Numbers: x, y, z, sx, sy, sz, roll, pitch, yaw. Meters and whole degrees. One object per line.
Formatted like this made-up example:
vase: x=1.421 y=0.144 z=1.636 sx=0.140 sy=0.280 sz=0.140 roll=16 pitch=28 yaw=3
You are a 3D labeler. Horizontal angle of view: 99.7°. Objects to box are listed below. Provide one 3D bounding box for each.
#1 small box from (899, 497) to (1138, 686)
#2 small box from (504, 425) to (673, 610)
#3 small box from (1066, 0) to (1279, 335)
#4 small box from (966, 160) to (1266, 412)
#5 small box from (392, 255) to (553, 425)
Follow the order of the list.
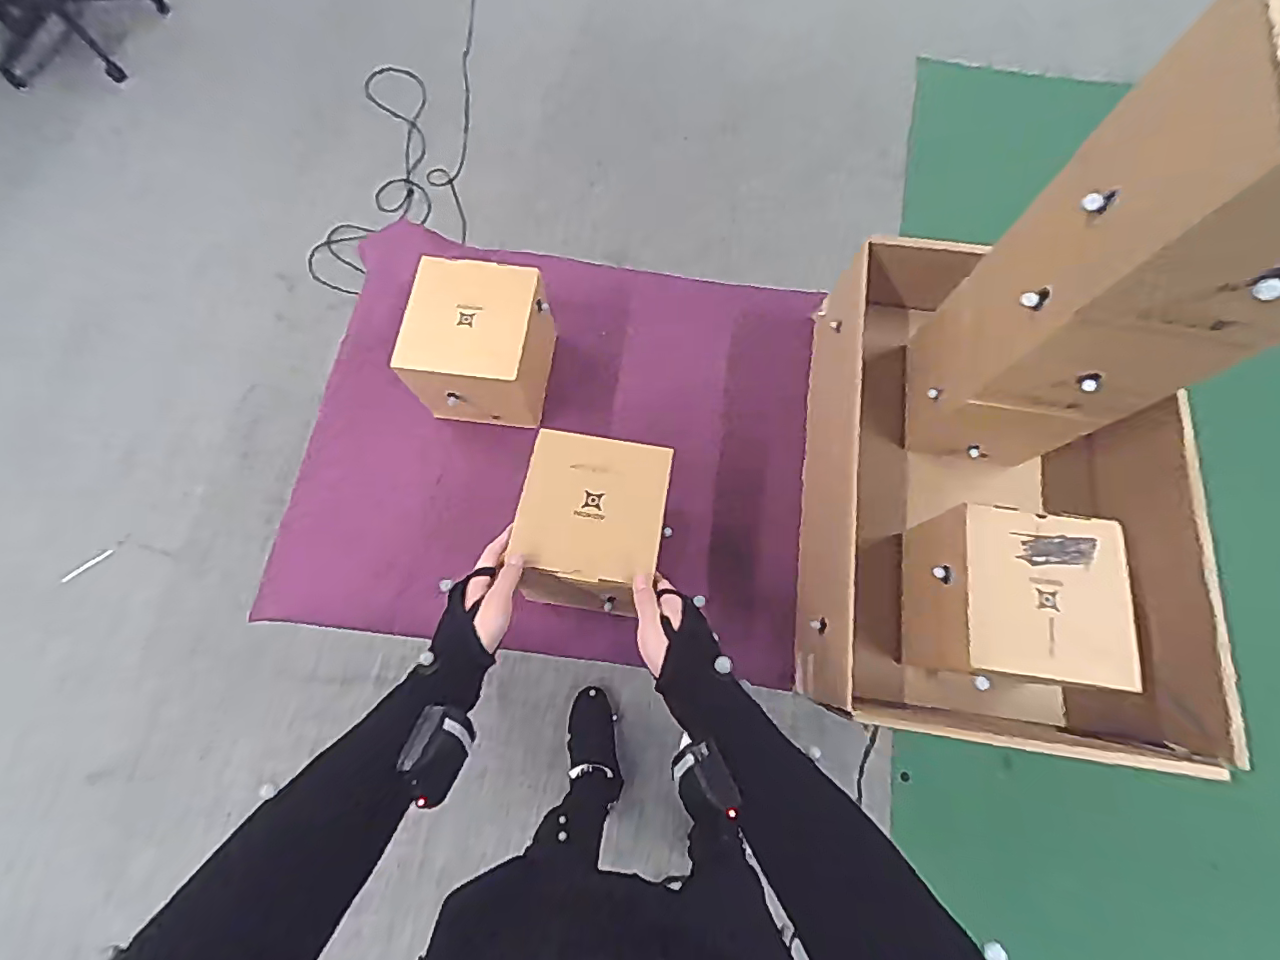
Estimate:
small box: x=0.421 y=0.135 z=0.637 sx=0.168 sy=0.176 sz=0.179 roll=7 pitch=73 yaw=4
small box: x=-0.056 y=0.057 z=0.687 sx=0.168 sy=0.176 sz=0.179 roll=9 pitch=65 yaw=2
small box: x=0.464 y=-0.233 z=0.408 sx=0.168 sy=0.176 sz=0.179 roll=10 pitch=75 yaw=4
small box: x=0.469 y=-0.188 z=0.565 sx=0.168 sy=0.176 sz=0.179 roll=10 pitch=74 yaw=3
small box: x=-0.230 y=-0.195 z=0.794 sx=0.168 sy=0.176 sz=0.179 roll=7 pitch=72 yaw=2
